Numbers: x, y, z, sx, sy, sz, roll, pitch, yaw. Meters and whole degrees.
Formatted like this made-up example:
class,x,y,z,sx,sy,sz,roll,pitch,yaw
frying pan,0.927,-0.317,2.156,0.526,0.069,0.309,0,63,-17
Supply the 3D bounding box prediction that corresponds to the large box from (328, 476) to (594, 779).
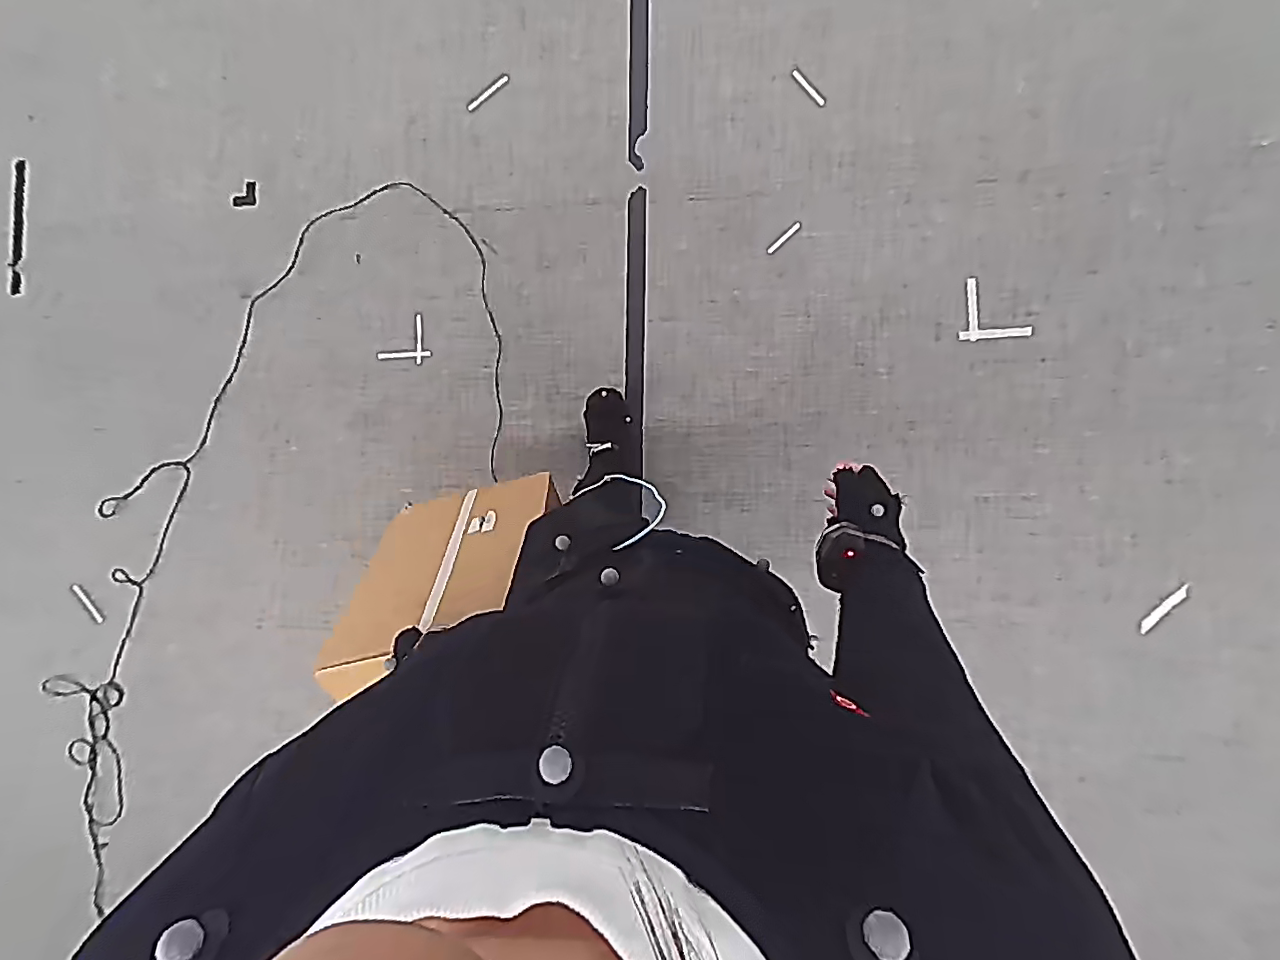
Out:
class,x,y,z,sx,sy,sz,roll,pitch,yaw
large box,-0.275,0.251,0.996,0.320,0.408,0.320,-13,120,4
